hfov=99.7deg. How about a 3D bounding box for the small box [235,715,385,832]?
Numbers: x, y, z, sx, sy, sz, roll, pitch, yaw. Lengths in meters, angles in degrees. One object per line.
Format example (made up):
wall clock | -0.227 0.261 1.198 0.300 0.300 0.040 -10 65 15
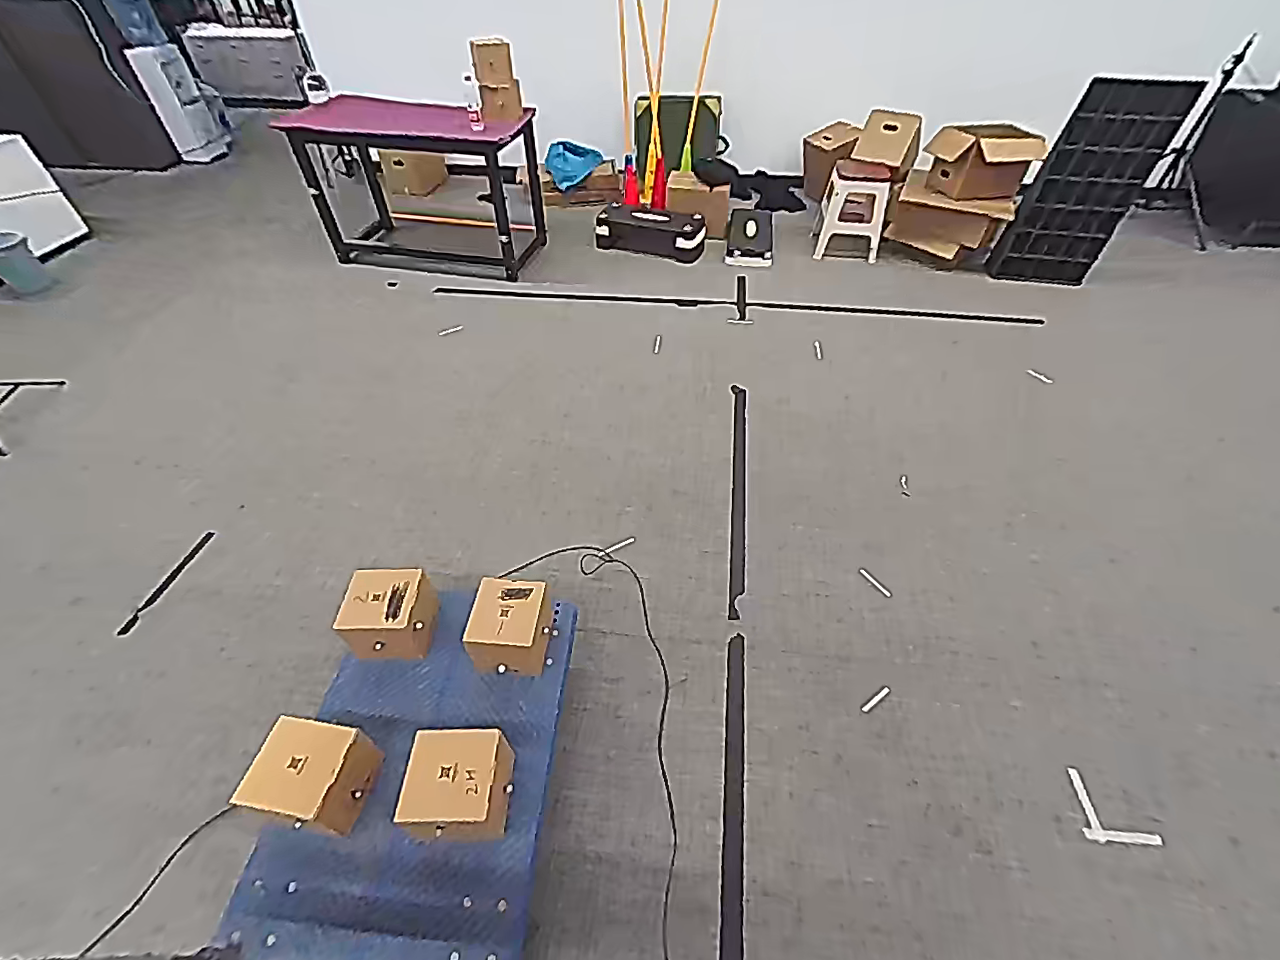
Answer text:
small box | -0.673 0.614 1.128 0.179 0.176 0.168 7 47 5

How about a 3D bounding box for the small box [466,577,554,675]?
small box | -0.316 0.367 1.359 0.168 0.176 0.179 4 48 4

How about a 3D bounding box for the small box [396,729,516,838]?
small box | -0.366 0.628 1.114 0.179 0.176 0.168 0 47 0
